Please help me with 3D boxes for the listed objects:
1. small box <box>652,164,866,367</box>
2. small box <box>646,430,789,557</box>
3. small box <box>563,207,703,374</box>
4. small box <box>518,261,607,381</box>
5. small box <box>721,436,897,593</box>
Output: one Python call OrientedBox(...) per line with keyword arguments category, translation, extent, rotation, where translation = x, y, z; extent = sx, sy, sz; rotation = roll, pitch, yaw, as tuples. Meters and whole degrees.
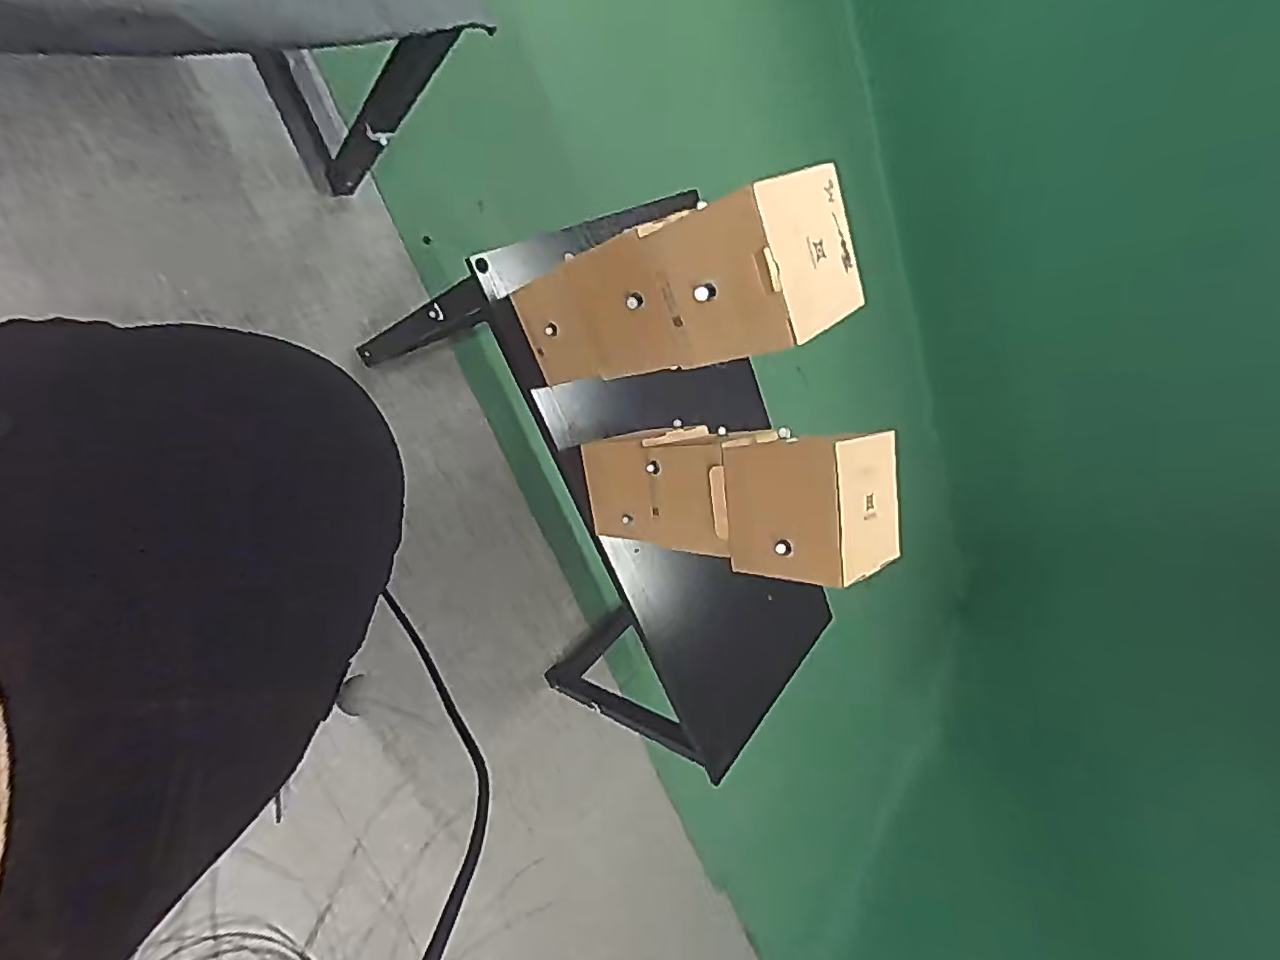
OrientedBox(category="small box", translation=(0.135, -0.246, 0.644), extent=(0.179, 0.176, 0.168), rotation=(-34, 112, -35))
OrientedBox(category="small box", translation=(0.123, 0.015, 0.858), extent=(0.179, 0.176, 0.168), rotation=(-14, 101, -42))
OrientedBox(category="small box", translation=(0.023, -0.258, 0.764), extent=(0.168, 0.176, 0.179), rotation=(-36, 113, -35))
OrientedBox(category="small box", translation=(-0.077, -0.274, 0.892), extent=(0.179, 0.176, 0.168), rotation=(-36, 115, -36))
OrientedBox(category="small box", translation=(0.227, 0.035, 0.734), extent=(0.168, 0.176, 0.179), rotation=(-11, 98, -42))
